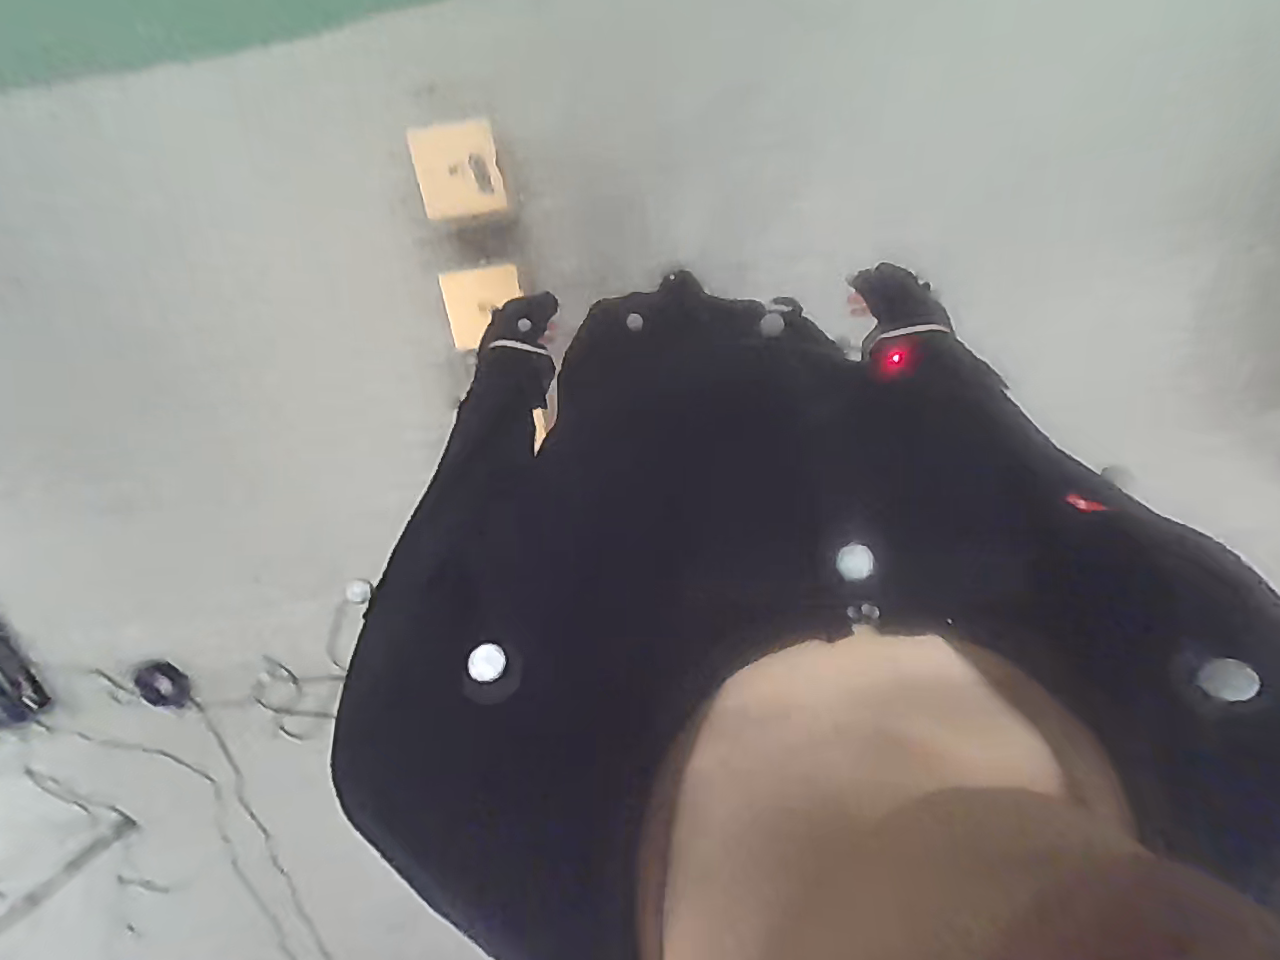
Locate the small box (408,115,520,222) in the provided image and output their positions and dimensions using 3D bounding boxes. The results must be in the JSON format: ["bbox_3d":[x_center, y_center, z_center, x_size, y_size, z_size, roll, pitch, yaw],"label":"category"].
[{"bbox_3d":[-0.368,-0.667,1.175,0.179,0.176,0.168,-8,111,3],"label":"small box"}]

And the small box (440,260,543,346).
[{"bbox_3d":[-0.341,-0.418,1.273,0.179,0.176,0.168,-8,111,2],"label":"small box"}]
